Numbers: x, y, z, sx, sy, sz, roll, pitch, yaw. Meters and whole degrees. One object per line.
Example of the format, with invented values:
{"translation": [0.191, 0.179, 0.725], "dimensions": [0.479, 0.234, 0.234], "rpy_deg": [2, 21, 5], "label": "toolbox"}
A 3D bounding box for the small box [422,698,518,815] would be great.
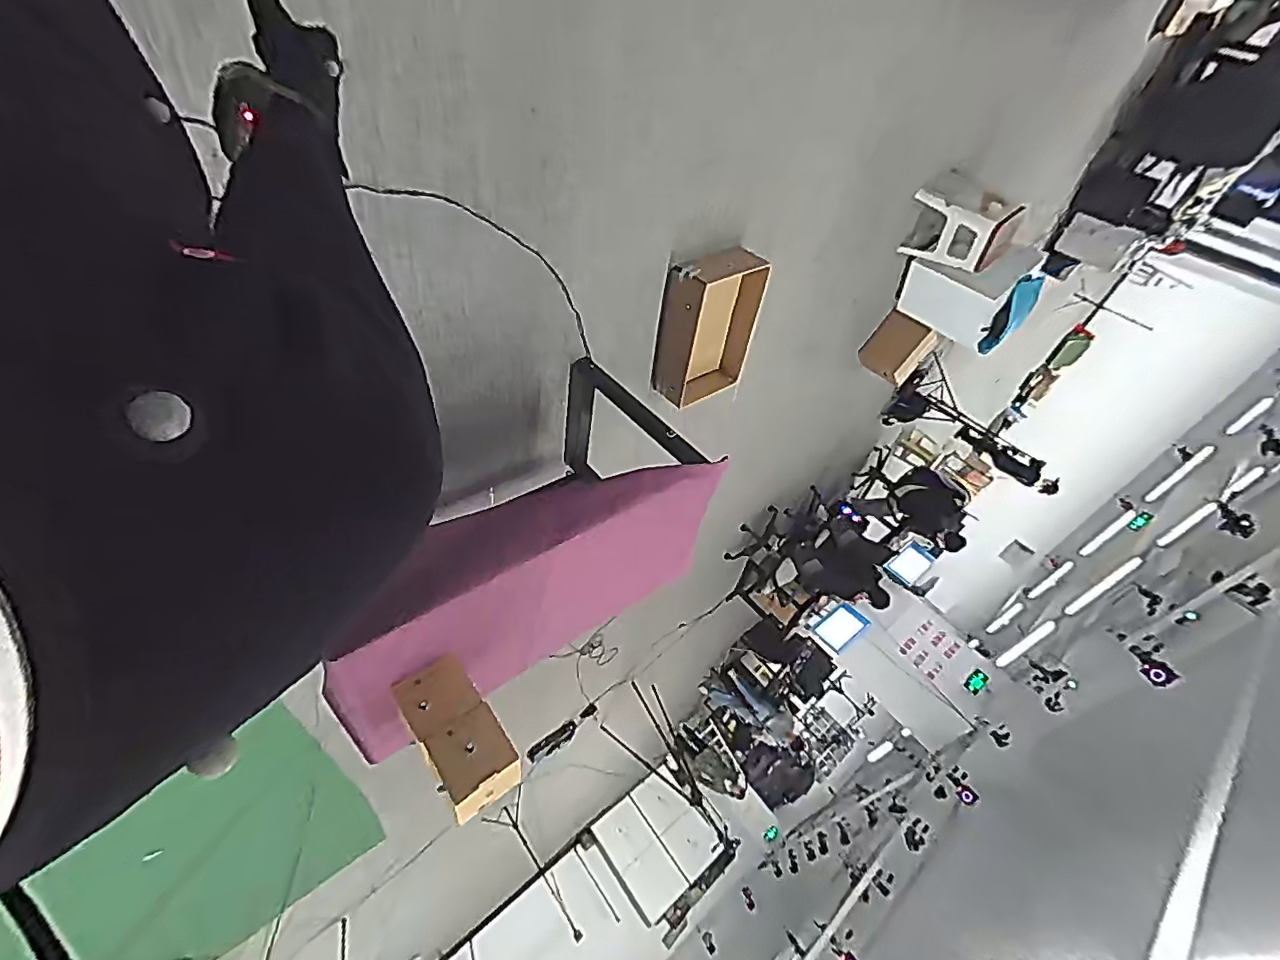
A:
{"translation": [-0.412, 0.664, 1.316], "dimensions": [0.168, 0.176, 0.179], "rpy_deg": [-25, 145, -32], "label": "small box"}

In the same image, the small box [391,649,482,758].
{"translation": [-0.520, 0.565, 1.390], "dimensions": [0.168, 0.176, 0.179], "rpy_deg": [-26, 147, -33], "label": "small box"}
